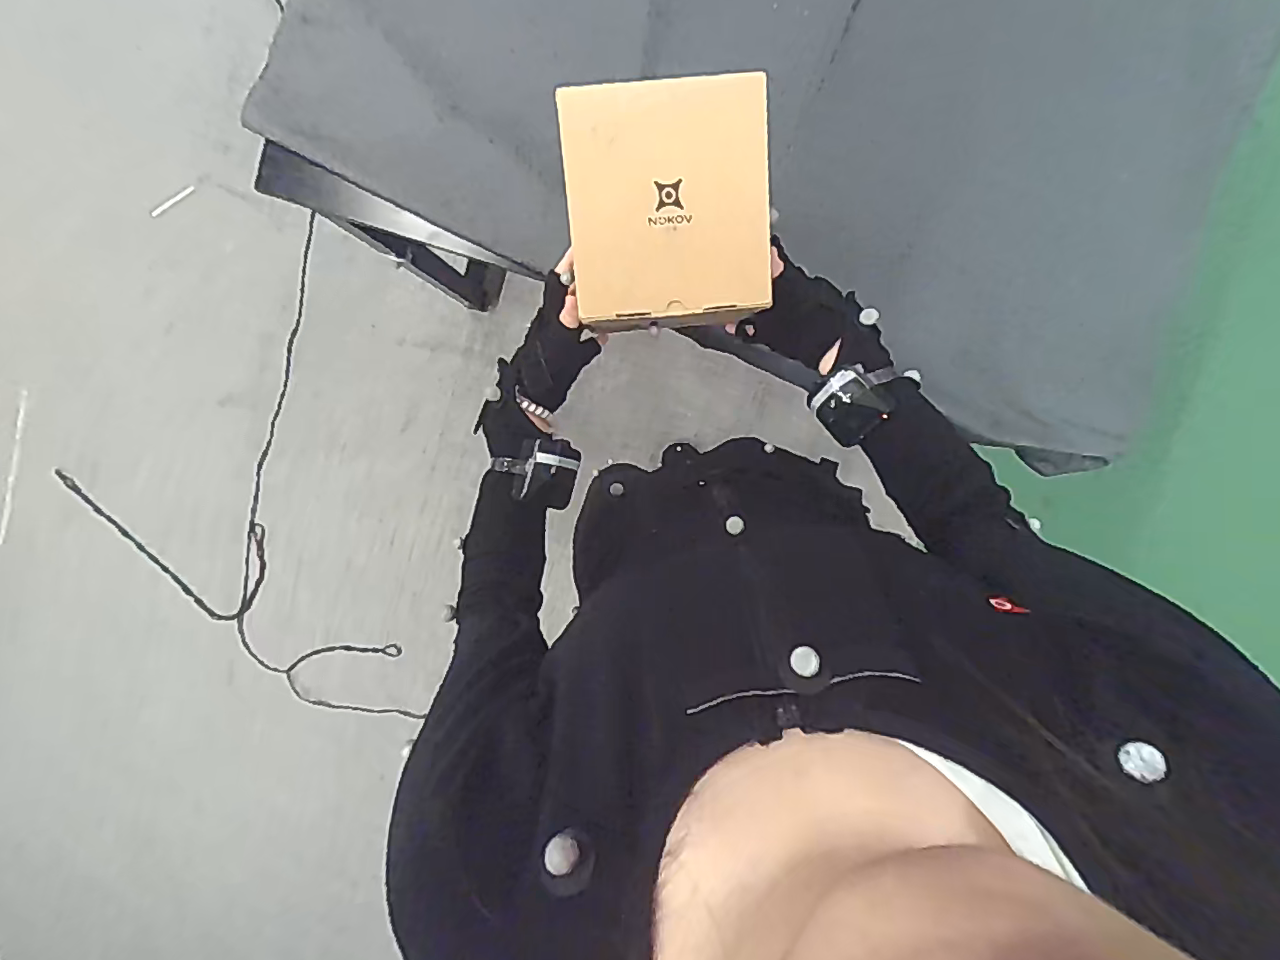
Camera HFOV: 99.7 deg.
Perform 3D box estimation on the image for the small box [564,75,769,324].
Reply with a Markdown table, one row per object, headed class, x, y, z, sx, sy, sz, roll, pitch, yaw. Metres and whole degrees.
| class | x | y | z | sx | sy | sz | roll | pitch | yaw |
| --- | --- | --- | --- | --- | --- | --- | --- | --- | --- |
| small box | 0.021 | -0.250 | 0.523 | 0.168 | 0.176 | 0.179 | -5 | 104 | -1 |
